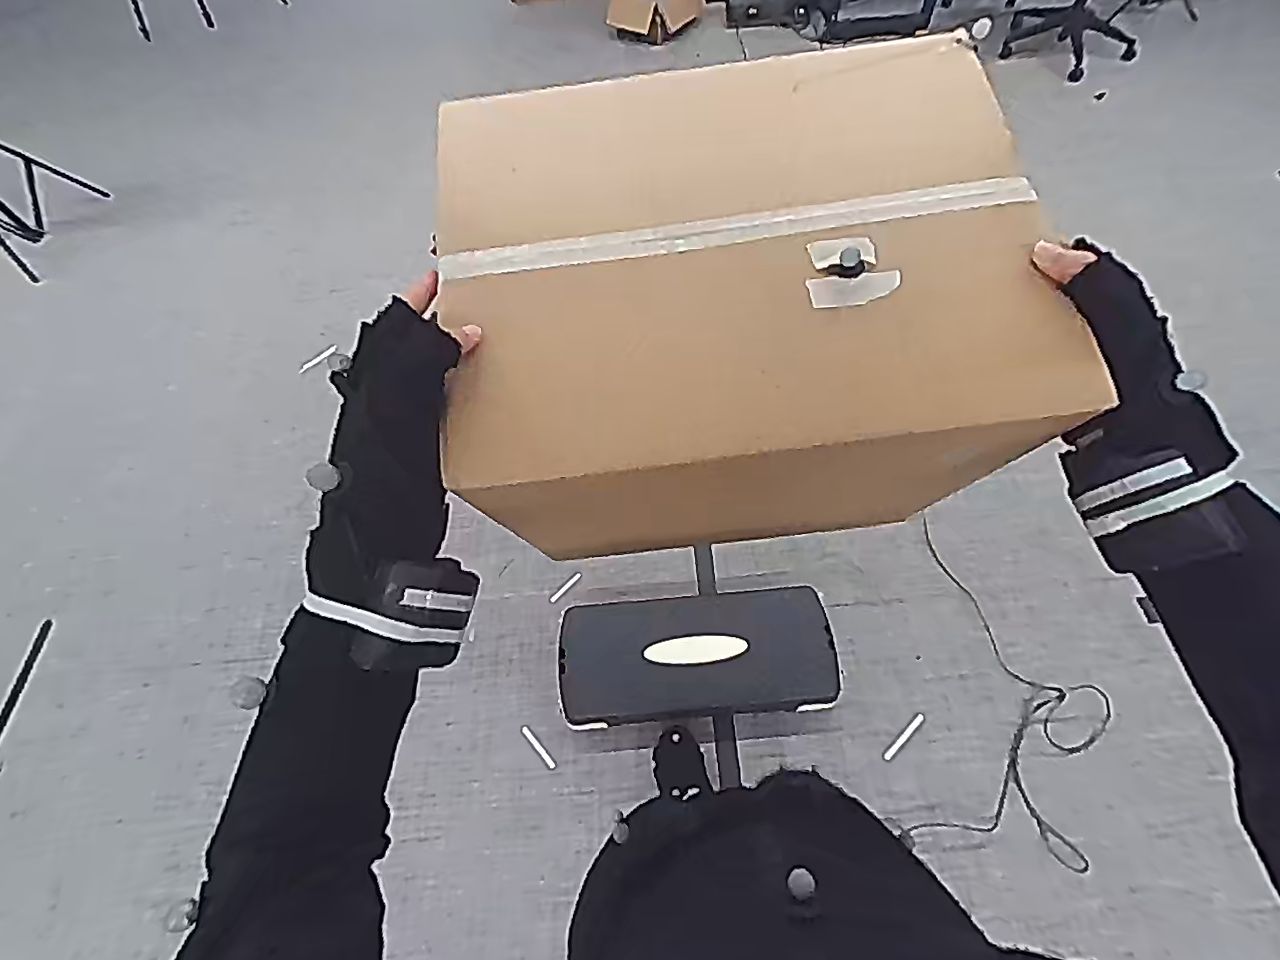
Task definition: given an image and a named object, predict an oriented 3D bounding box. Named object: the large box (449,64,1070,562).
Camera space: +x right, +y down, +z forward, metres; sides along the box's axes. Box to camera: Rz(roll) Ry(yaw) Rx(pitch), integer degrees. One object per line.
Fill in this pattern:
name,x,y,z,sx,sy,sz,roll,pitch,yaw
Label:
large box,0.066,-0.119,0.530,0.408,0.320,0.320,-7,73,1
